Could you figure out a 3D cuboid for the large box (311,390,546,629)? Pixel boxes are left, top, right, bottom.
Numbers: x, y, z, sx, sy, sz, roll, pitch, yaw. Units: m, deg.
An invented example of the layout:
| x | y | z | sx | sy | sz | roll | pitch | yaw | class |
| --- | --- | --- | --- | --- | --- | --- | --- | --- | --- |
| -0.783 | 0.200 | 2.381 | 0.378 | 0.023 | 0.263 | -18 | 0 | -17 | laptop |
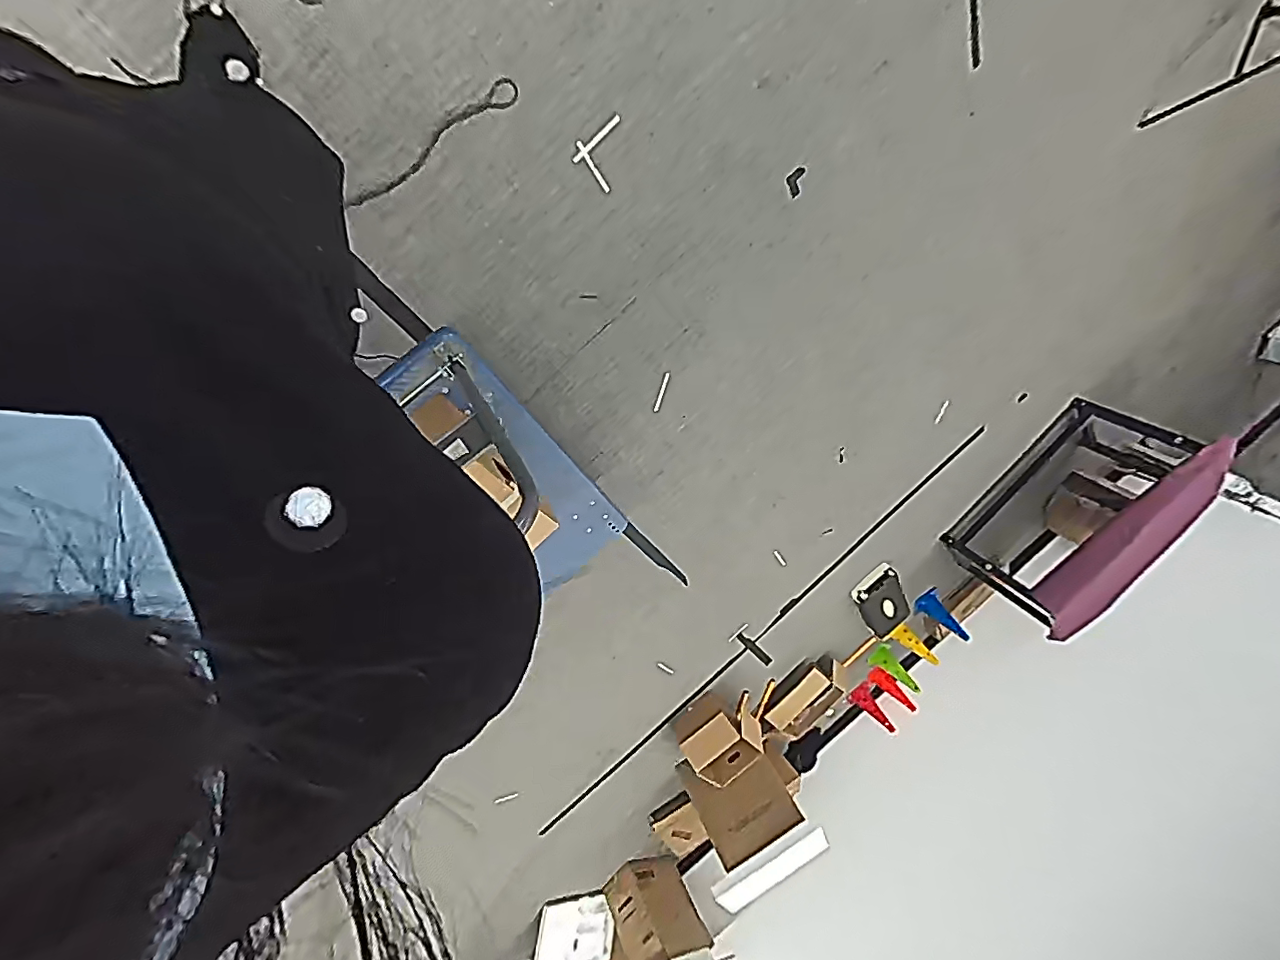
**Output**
| x | y | z | sx | sy | sz | roll | pitch | yaw | class |
| --- | --- | --- | --- | --- | --- | --- | --- | --- | --- |
| -0.505 | 0.067 | 1.286 | 0.408 | 0.320 | 0.320 | -42 | 133 | 1 | large box |
